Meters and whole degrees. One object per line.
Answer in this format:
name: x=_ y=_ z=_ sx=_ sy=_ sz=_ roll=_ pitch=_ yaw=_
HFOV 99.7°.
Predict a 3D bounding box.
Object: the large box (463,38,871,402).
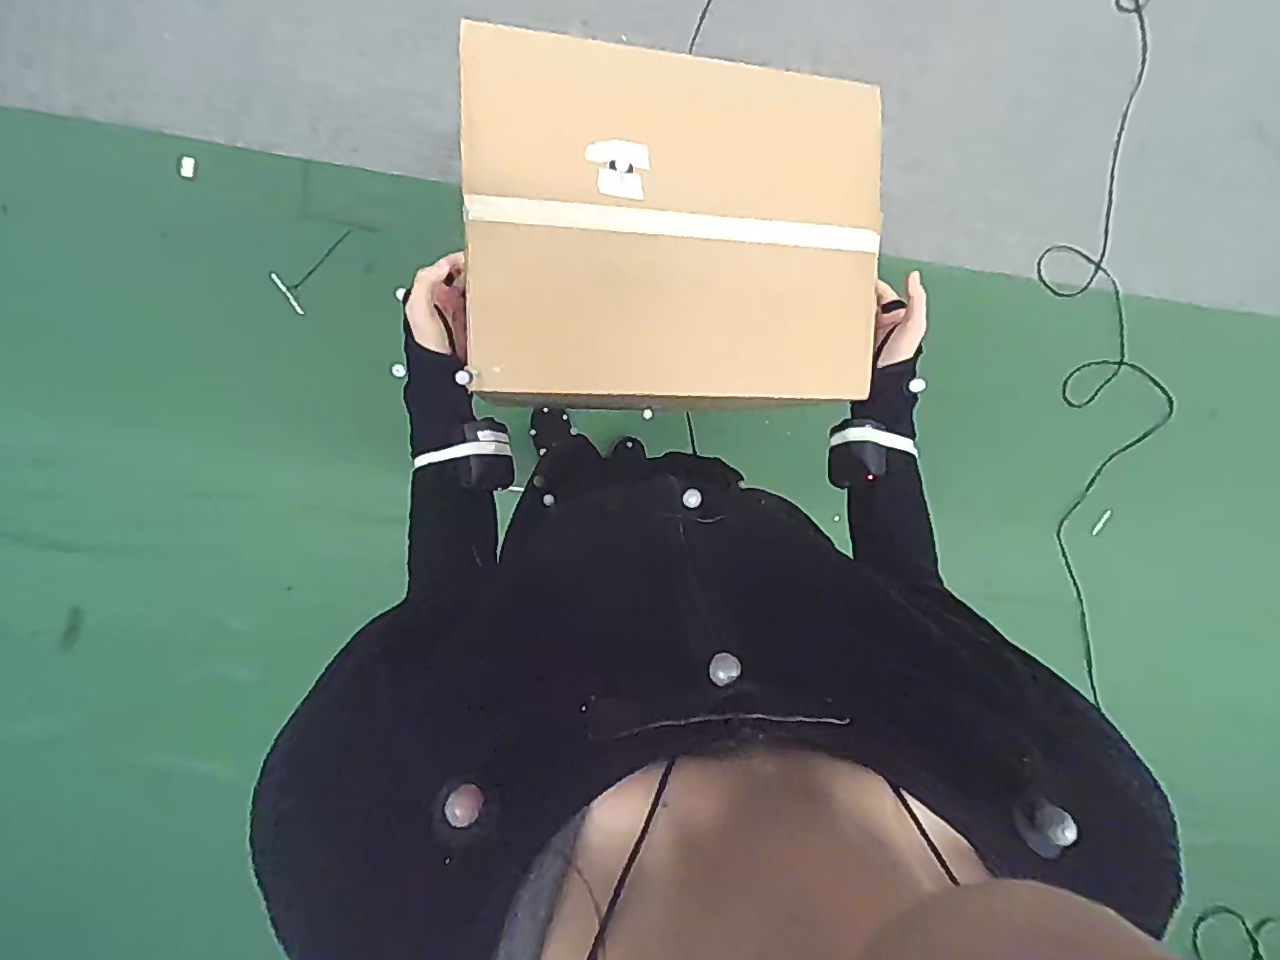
large box: x=0.012 y=-0.255 z=0.669 sx=0.408 sy=0.320 sz=0.320 roll=-1 pitch=95 yaw=-11
